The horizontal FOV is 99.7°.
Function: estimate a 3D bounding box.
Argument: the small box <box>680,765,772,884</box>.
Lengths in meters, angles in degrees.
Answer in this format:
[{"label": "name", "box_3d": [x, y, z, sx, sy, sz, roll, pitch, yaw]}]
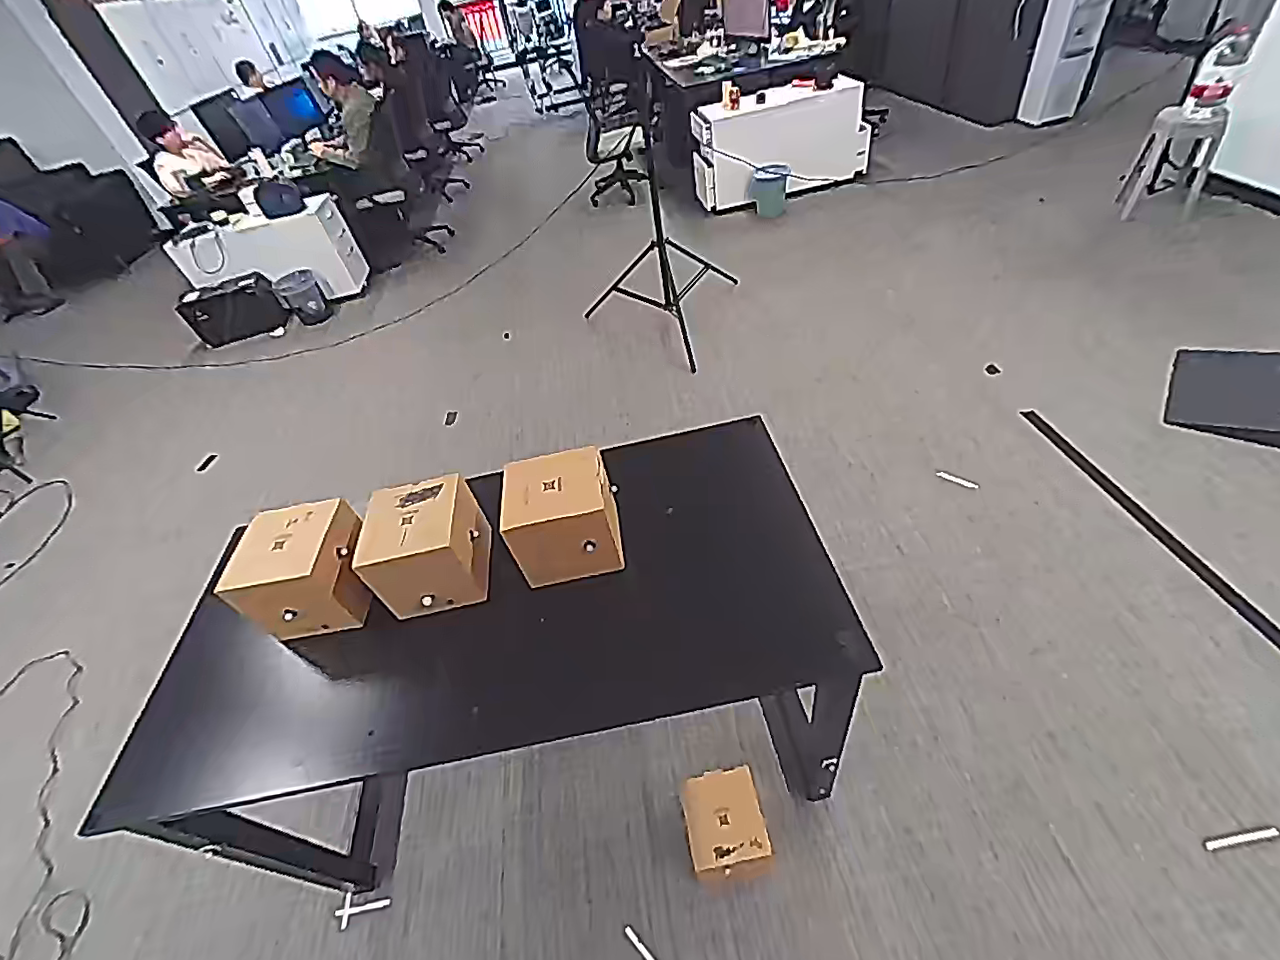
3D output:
[{"label": "small box", "box_3d": [0.193, 0.783, 1.228, 0.168, 0.176, 0.179, -14, 44, 1]}]

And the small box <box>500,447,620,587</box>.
[{"label": "small box", "box_3d": [-0.138, 0.069, 0.978, 0.179, 0.176, 0.168, -13, 43, 2]}]

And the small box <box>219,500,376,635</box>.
[{"label": "small box", "box_3d": [-0.600, 0.166, 0.988, 0.168, 0.176, 0.179, -10, 44, 2]}]

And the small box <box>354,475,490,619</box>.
[{"label": "small box", "box_3d": [-0.381, 0.122, 0.979, 0.168, 0.176, 0.179, -13, 46, 0]}]
